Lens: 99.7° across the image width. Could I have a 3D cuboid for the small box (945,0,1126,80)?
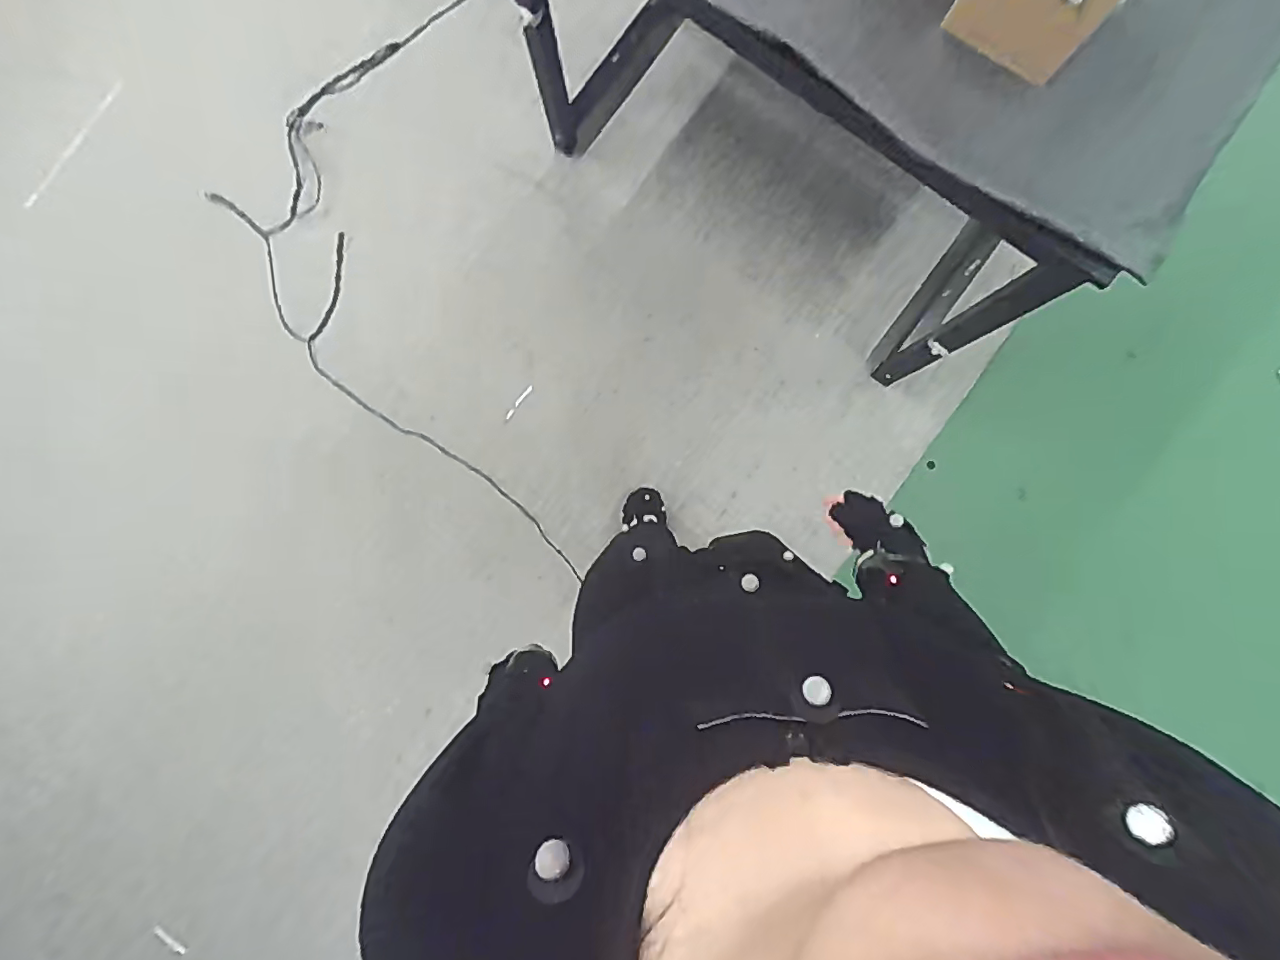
[{"bbox_3d":[0.560,-0.688,0.719,0.179,0.176,0.168,34,87,3],"label":"small box"}]
